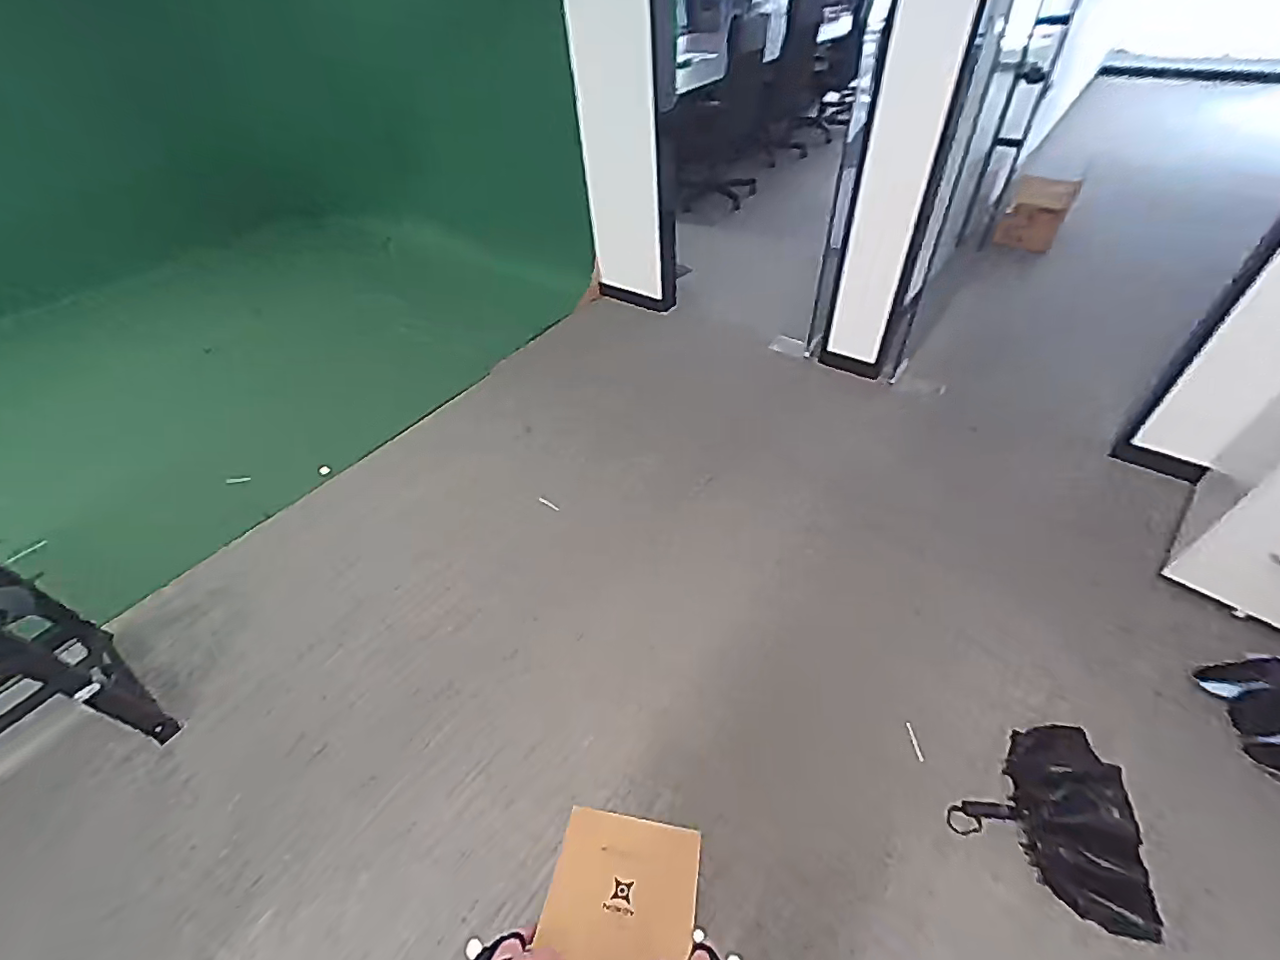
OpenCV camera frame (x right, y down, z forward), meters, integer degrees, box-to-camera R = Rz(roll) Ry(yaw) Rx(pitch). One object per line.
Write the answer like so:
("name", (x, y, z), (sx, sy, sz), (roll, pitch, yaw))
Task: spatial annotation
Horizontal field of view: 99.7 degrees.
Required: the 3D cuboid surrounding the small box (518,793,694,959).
("small box", (-0.030, 0.518, 0.640), (0.168, 0.176, 0.179), (7, 27, 8))
